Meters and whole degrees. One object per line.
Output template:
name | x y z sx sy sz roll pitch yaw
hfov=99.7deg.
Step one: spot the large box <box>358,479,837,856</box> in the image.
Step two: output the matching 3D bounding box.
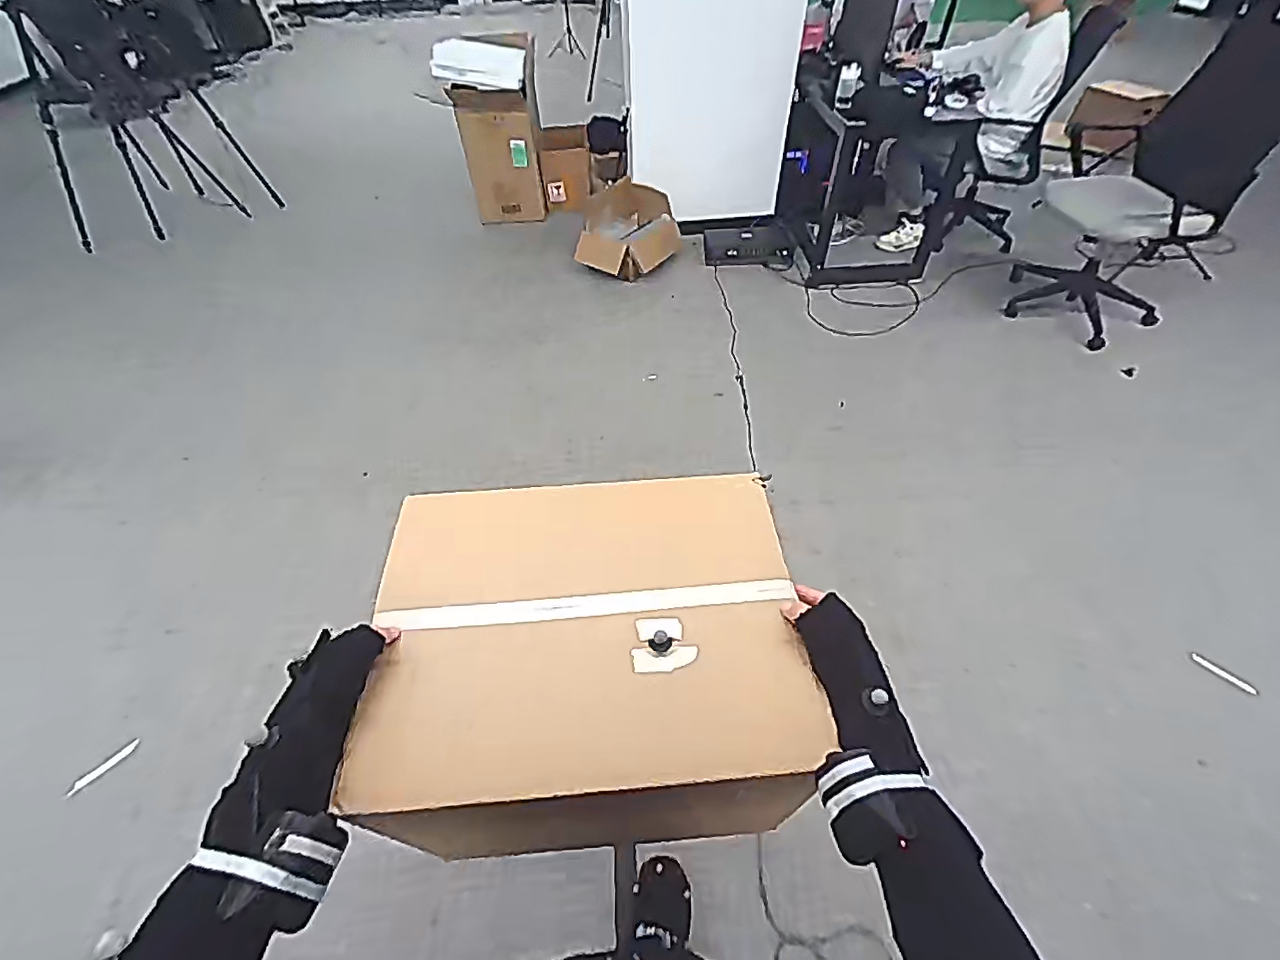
large box | -0.044 0.225 0.649 0.408 0.320 0.320 -4 49 -3
